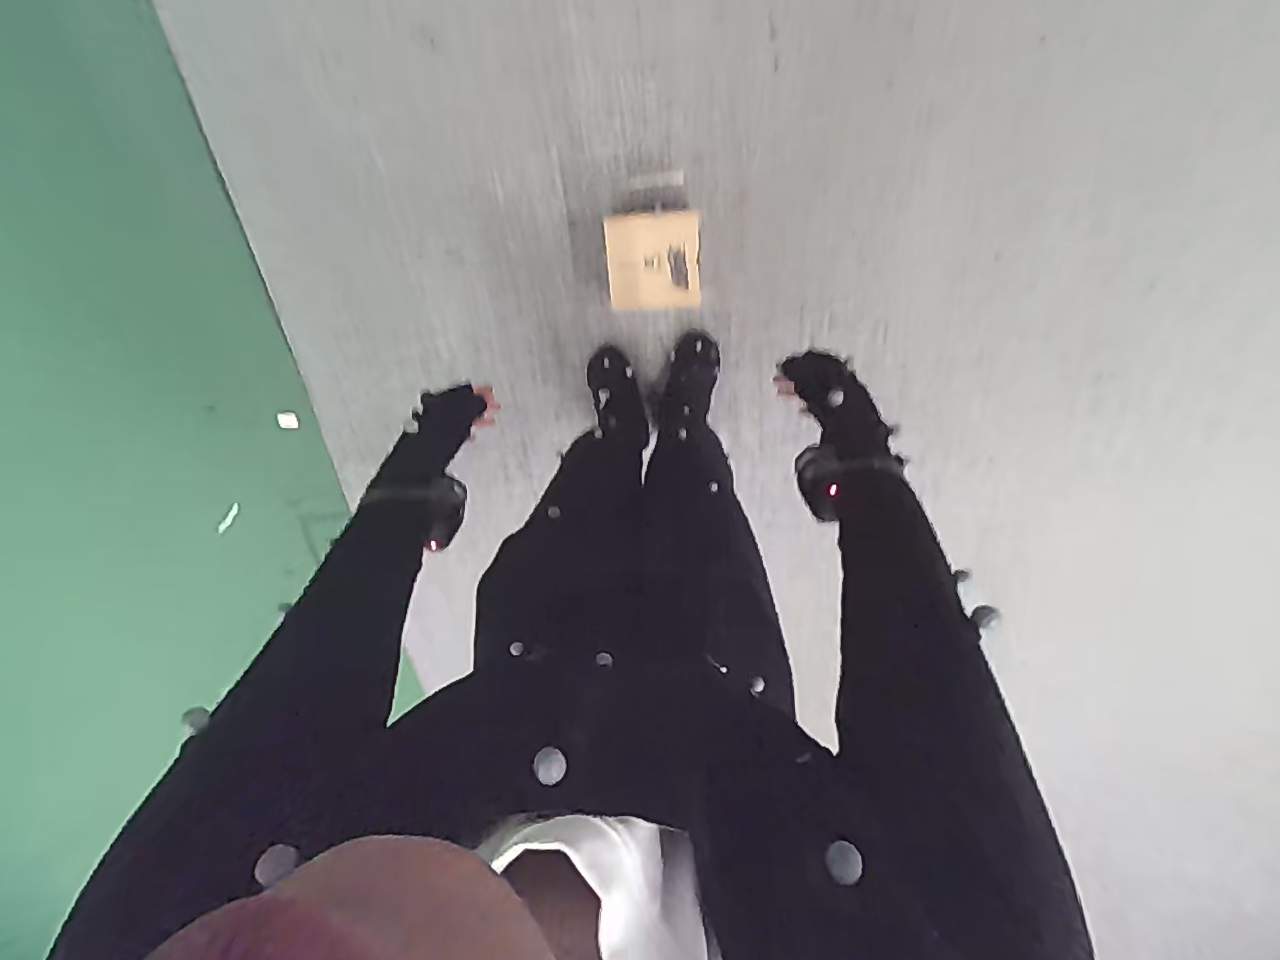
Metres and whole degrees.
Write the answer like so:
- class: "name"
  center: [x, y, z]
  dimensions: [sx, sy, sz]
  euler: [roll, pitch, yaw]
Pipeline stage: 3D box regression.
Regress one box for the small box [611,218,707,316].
- class: "small box"
  center: [0.040, -0.434, 1.094]
  dimensions: [0.179, 0.176, 0.168]
  euler: [-3, 116, 4]
